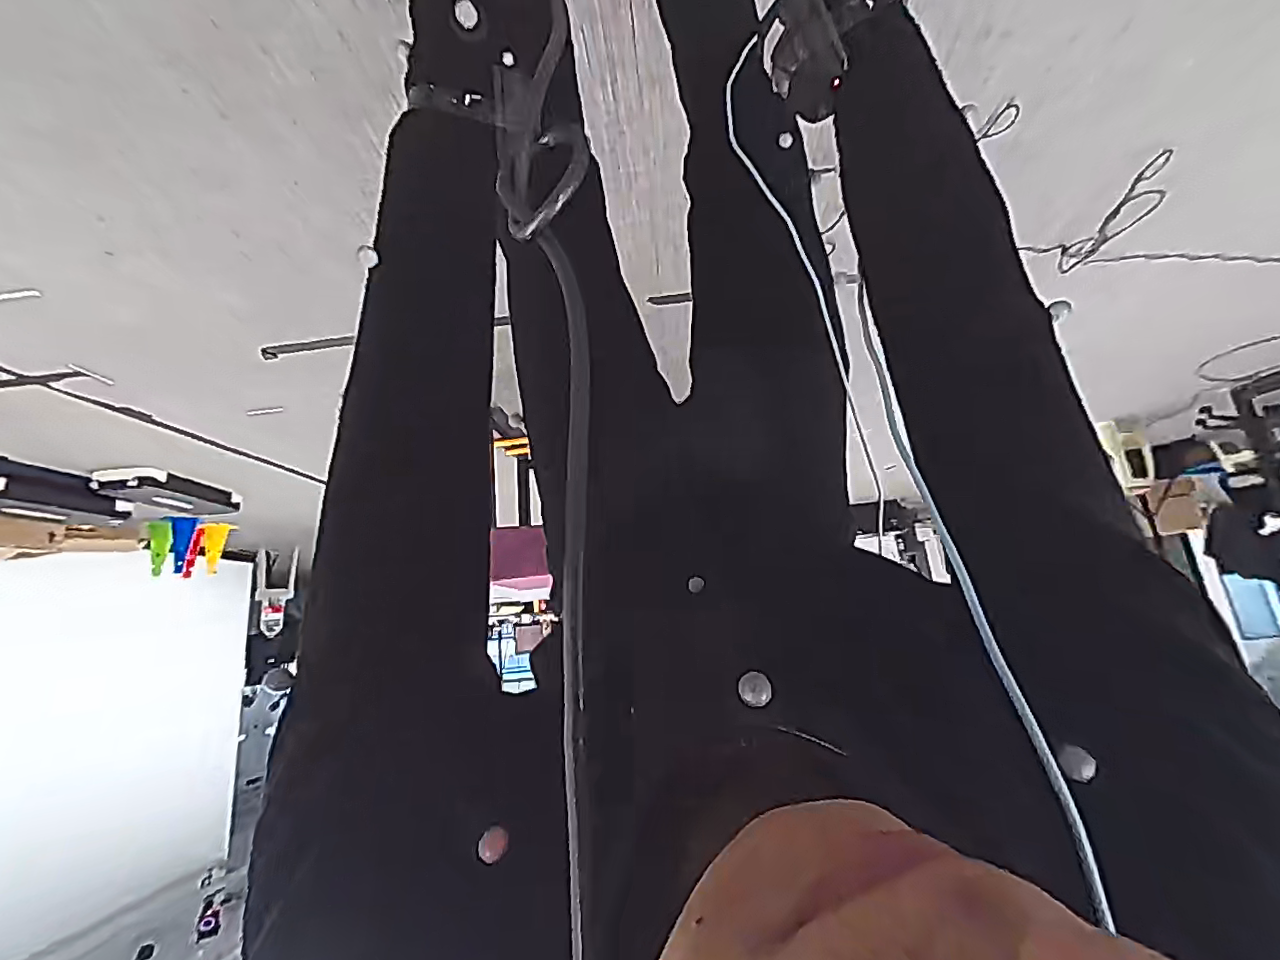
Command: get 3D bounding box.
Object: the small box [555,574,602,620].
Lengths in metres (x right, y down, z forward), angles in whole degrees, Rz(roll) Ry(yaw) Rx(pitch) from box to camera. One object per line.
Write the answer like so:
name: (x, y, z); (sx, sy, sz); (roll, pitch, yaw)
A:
small box: (-0.255, 0.487, 2.257); (0.168, 0.176, 0.179); (-6, 166, 0)
